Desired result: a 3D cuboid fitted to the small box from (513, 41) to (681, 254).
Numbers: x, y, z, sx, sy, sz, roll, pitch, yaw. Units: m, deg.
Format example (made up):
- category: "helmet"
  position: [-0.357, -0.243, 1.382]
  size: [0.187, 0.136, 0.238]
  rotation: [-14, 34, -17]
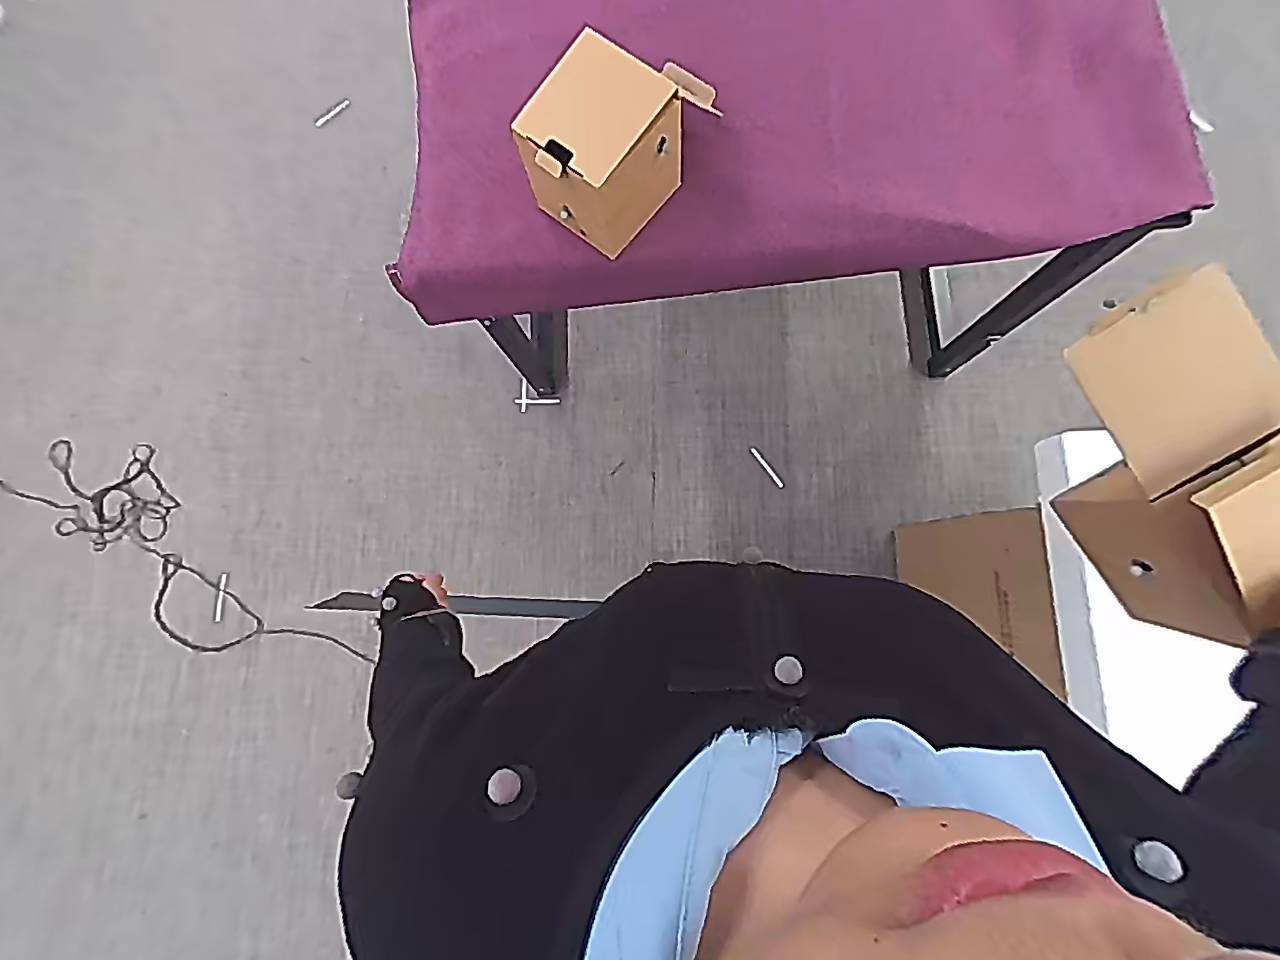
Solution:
- category: "small box"
  position: [-0.056, -0.487, 0.815]
  size: [0.168, 0.176, 0.179]
  rotation: [39, 85, 10]
